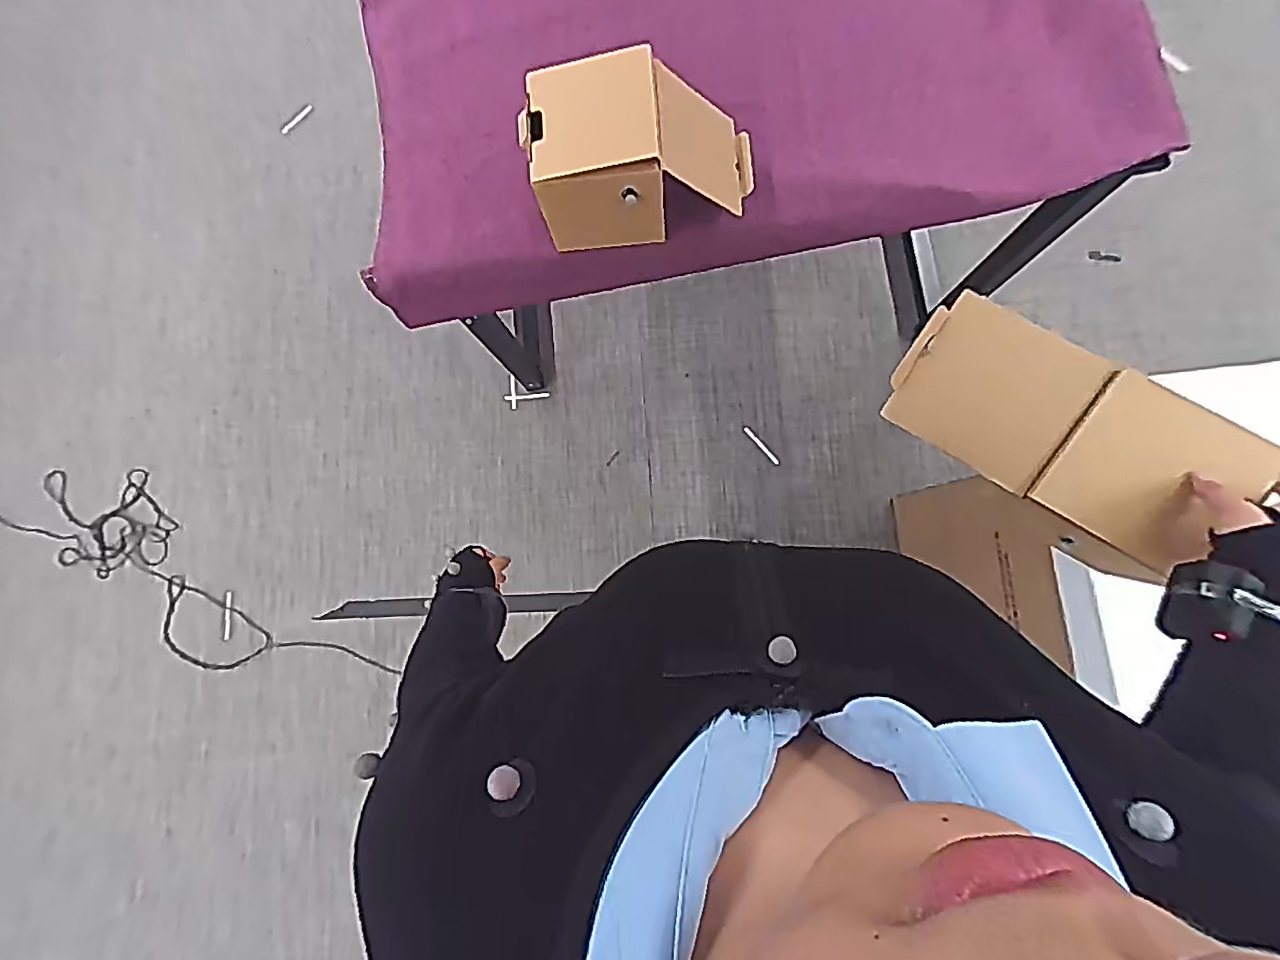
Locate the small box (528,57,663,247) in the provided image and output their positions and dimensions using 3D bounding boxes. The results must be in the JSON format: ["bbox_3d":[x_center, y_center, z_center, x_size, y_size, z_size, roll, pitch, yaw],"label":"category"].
[{"bbox_3d":[-0.056,-0.467,0.793,0.179,0.176,0.168,-4,82,4],"label":"small box"}]
